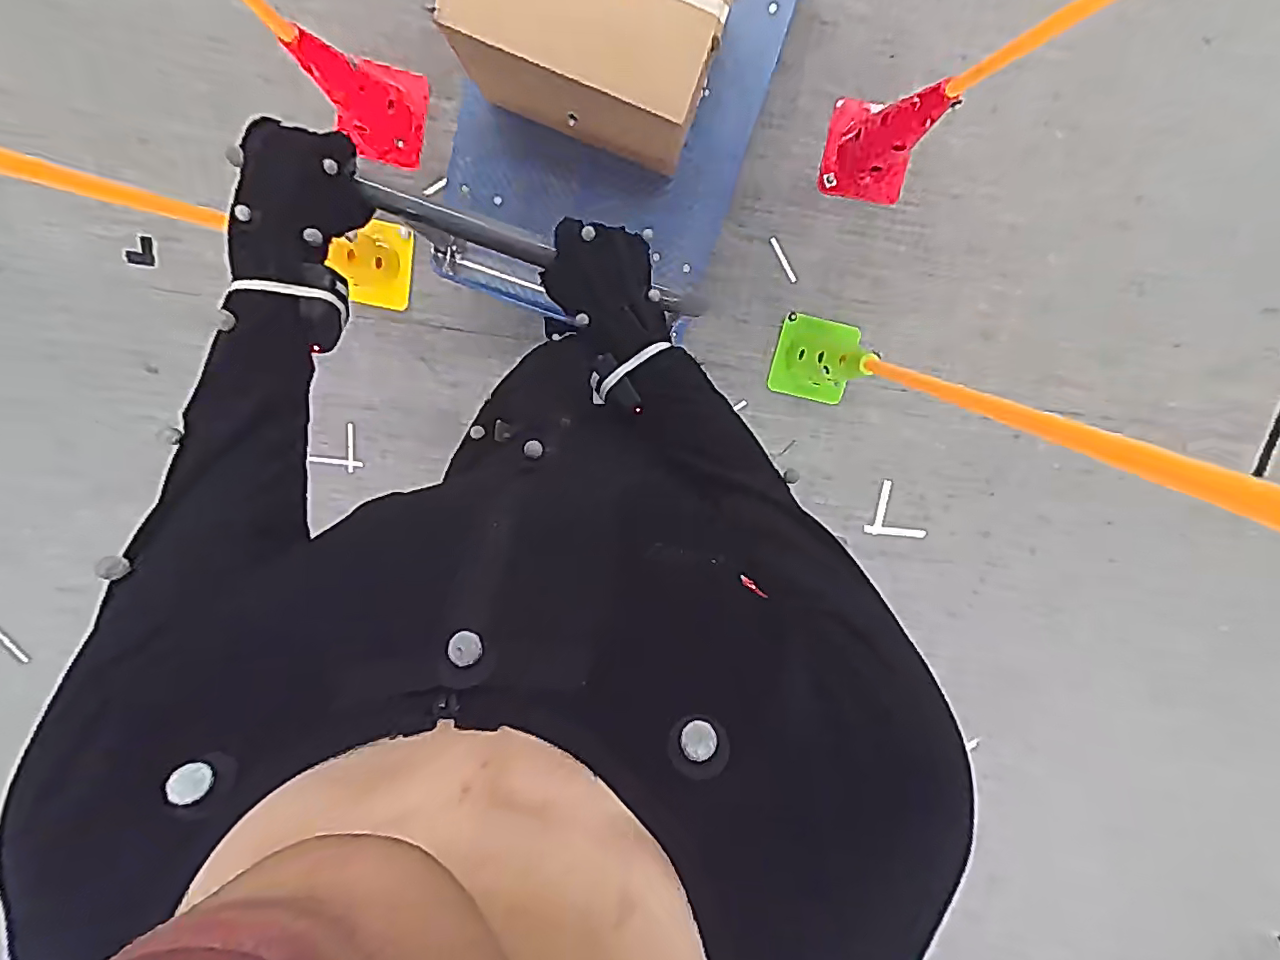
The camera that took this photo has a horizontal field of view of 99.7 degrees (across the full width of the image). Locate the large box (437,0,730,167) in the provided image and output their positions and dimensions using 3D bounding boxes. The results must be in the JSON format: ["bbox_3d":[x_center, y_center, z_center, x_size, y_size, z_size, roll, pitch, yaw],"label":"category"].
[{"bbox_3d":[-0.066,-0.804,0.930,0.408,0.320,0.320,20,105,-4],"label":"large box"}]

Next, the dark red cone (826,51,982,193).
[{"bbox_3d":[0.539,-0.732,1.077,0.201,0.394,0.202,8,105,-4],"label":"dark red cone"}]

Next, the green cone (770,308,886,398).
[{"bbox_3d":[0.450,-0.277,1.219,0.202,0.368,0.200,11,105,-4],"label":"green cone"}]

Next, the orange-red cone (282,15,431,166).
[{"bbox_3d":[-0.592,-0.812,1.083,0.198,0.360,0.199,15,103,-5],"label":"orange-red cone"}]
